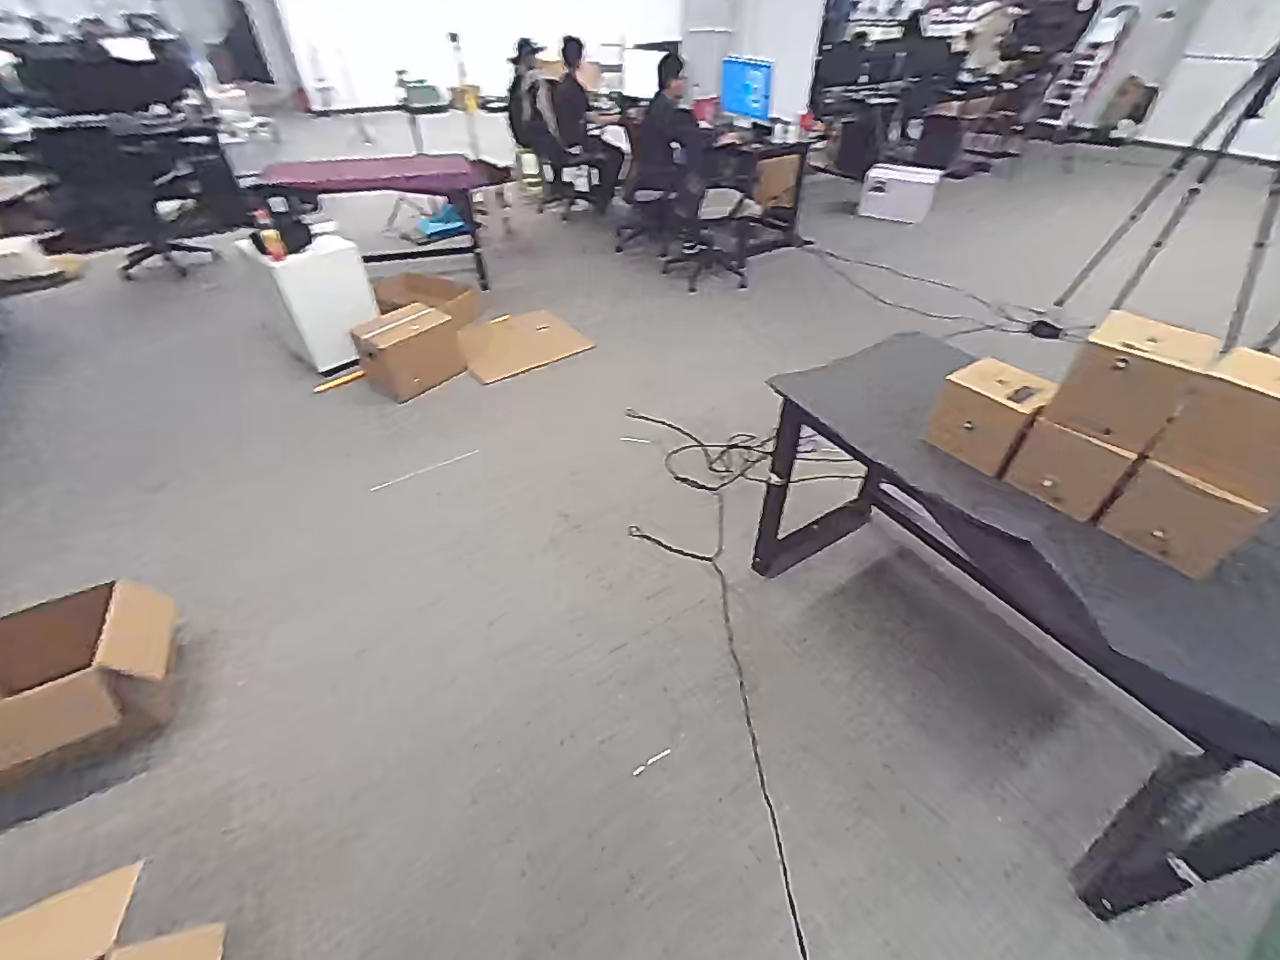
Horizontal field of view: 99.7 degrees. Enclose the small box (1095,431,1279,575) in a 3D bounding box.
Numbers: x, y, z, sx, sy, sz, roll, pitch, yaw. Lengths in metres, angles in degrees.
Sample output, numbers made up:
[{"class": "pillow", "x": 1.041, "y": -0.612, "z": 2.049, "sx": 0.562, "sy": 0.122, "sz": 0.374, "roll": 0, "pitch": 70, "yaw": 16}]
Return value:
[{"class": "small box", "x": 0.999, "y": 0.041, "z": 0.999, "sx": 0.179, "sy": 0.176, "sz": 0.168, "roll": -25, "pitch": 45, "yaw": -26}]
